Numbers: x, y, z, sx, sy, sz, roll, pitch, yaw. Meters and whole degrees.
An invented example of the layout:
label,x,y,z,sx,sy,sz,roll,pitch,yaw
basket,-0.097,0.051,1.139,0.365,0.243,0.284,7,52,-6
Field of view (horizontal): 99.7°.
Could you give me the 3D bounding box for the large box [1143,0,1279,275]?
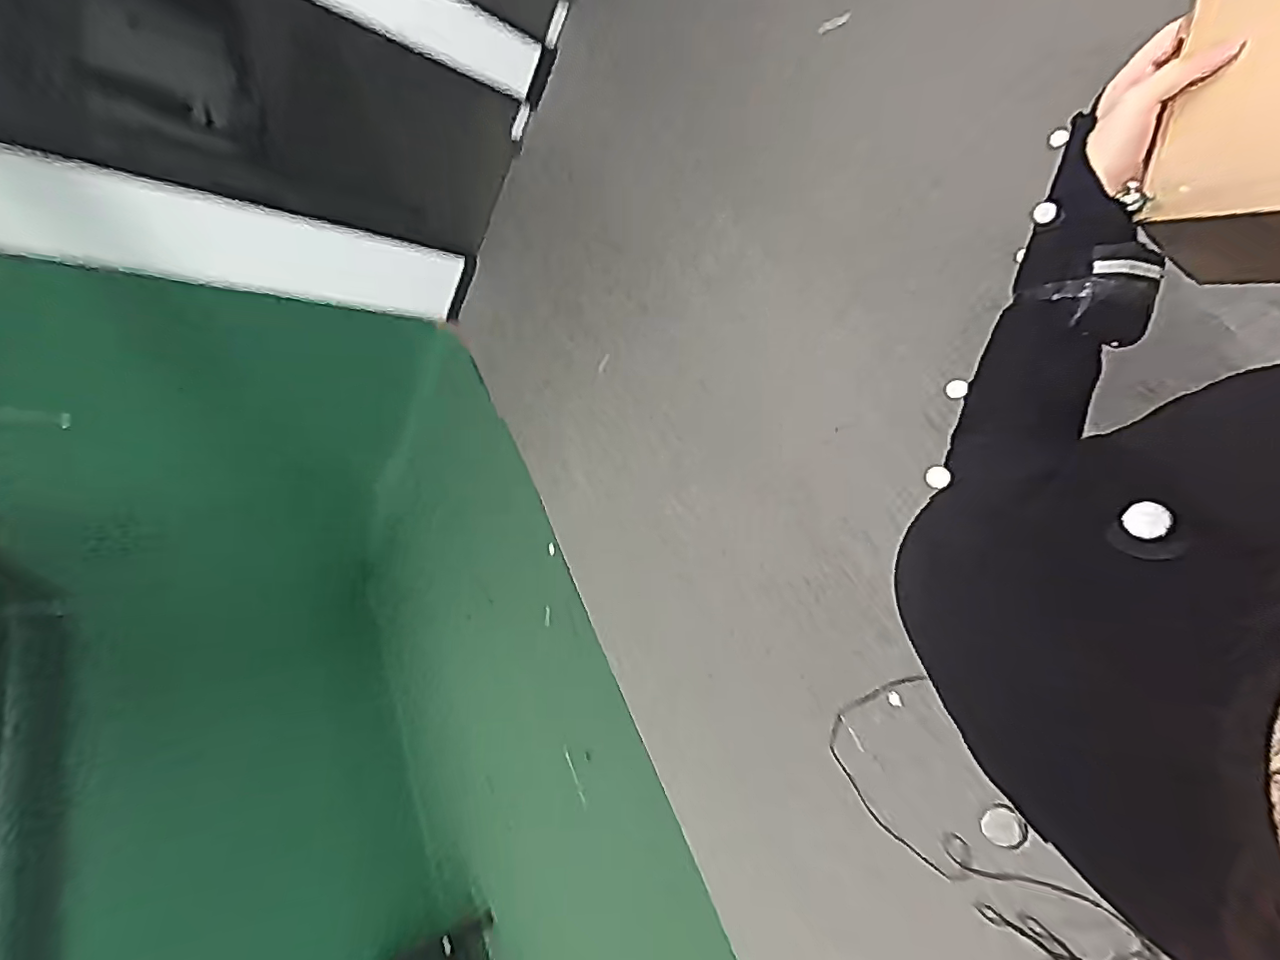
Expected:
label,x,y,z,sx,sy,sz,roll,pitch,yaw
large box,0.634,-0.315,0.318,0.408,0.320,0.320,20,110,51
